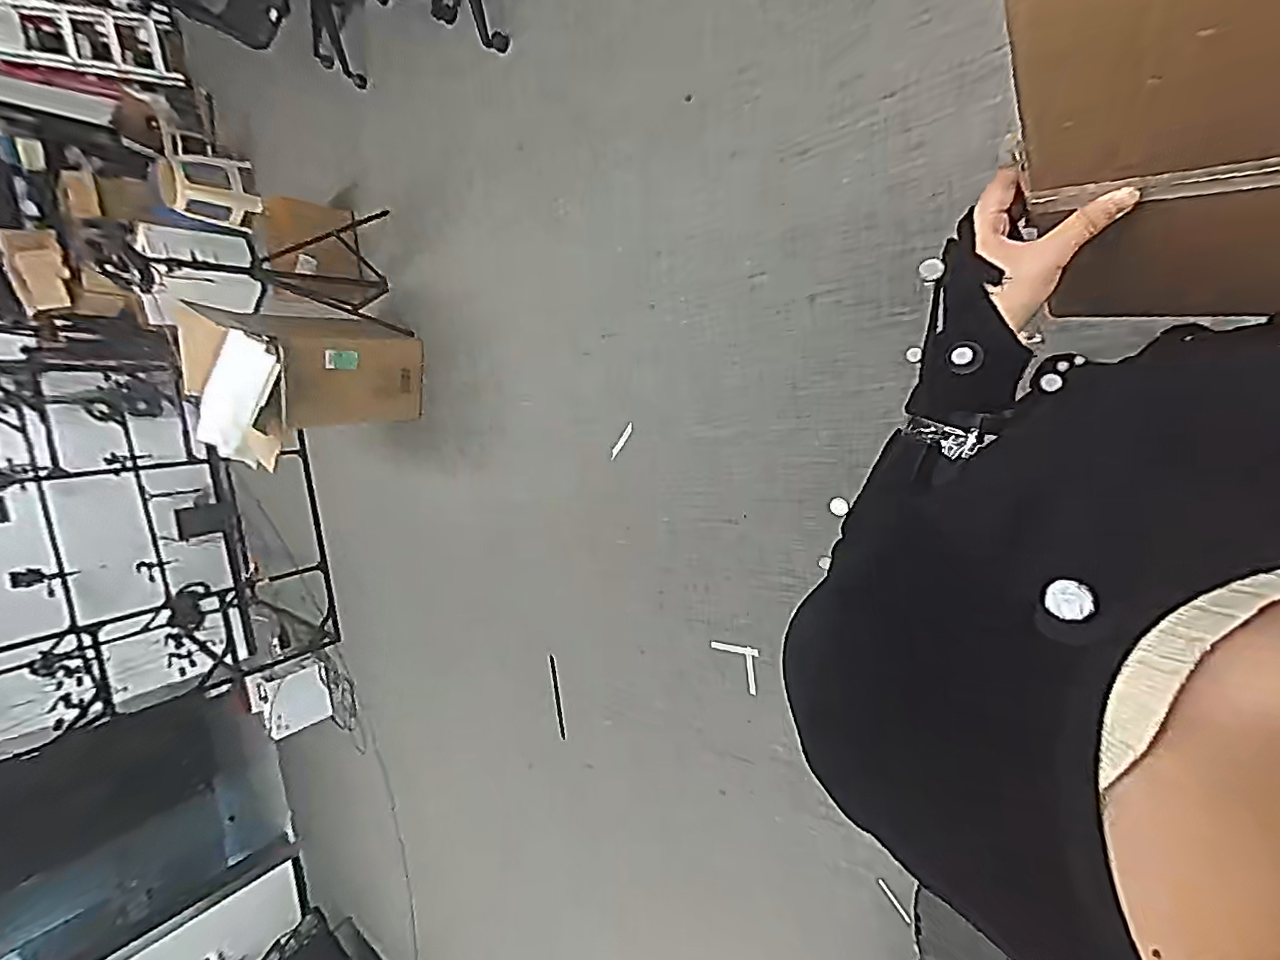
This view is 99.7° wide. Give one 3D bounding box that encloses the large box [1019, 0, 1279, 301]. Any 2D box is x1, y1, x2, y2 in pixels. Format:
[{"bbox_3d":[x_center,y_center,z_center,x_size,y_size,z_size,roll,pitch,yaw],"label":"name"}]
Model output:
[{"bbox_3d":[0.423,-0.289,0.192,0.408,0.320,0.320,14,85,43],"label":"large box"}]
